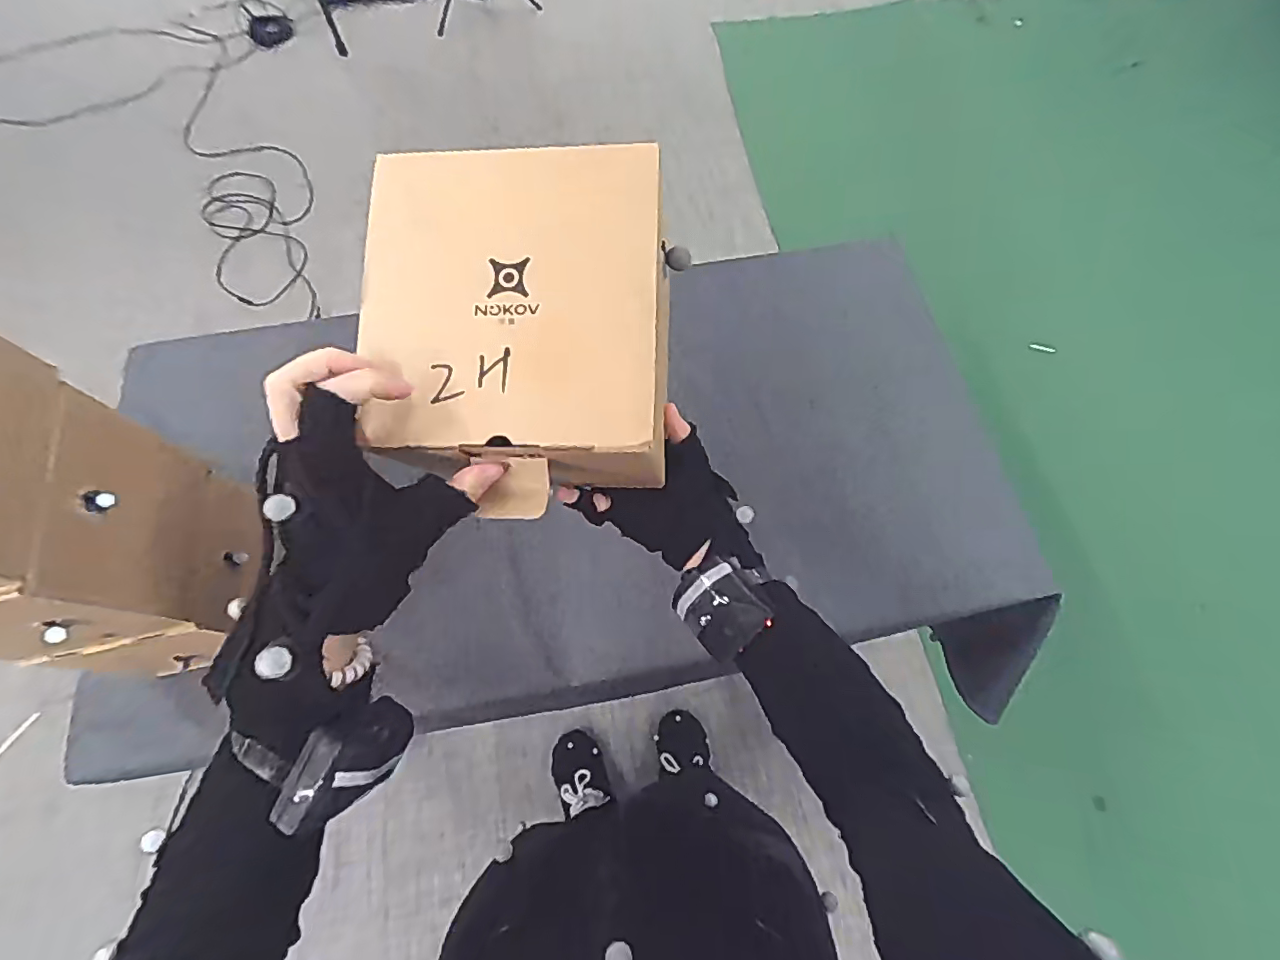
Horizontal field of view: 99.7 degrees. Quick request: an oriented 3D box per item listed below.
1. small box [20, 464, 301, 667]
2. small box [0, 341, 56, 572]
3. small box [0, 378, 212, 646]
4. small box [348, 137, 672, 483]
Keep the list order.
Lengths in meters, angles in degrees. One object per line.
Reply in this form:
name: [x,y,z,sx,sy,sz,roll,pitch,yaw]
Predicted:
small box: [-0.517,0.104,0.616,0.168,0.176,0.179,-11,69,-5]
small box: [-0.515,-0.027,0.317,0.168,0.176,0.179,-11,69,-6]
small box: [-0.515,0.040,0.466,0.168,0.176,0.179,-10,69,-5]
small box: [-0.066,-0.095,0.372,0.168,0.176,0.179,3,86,4]
